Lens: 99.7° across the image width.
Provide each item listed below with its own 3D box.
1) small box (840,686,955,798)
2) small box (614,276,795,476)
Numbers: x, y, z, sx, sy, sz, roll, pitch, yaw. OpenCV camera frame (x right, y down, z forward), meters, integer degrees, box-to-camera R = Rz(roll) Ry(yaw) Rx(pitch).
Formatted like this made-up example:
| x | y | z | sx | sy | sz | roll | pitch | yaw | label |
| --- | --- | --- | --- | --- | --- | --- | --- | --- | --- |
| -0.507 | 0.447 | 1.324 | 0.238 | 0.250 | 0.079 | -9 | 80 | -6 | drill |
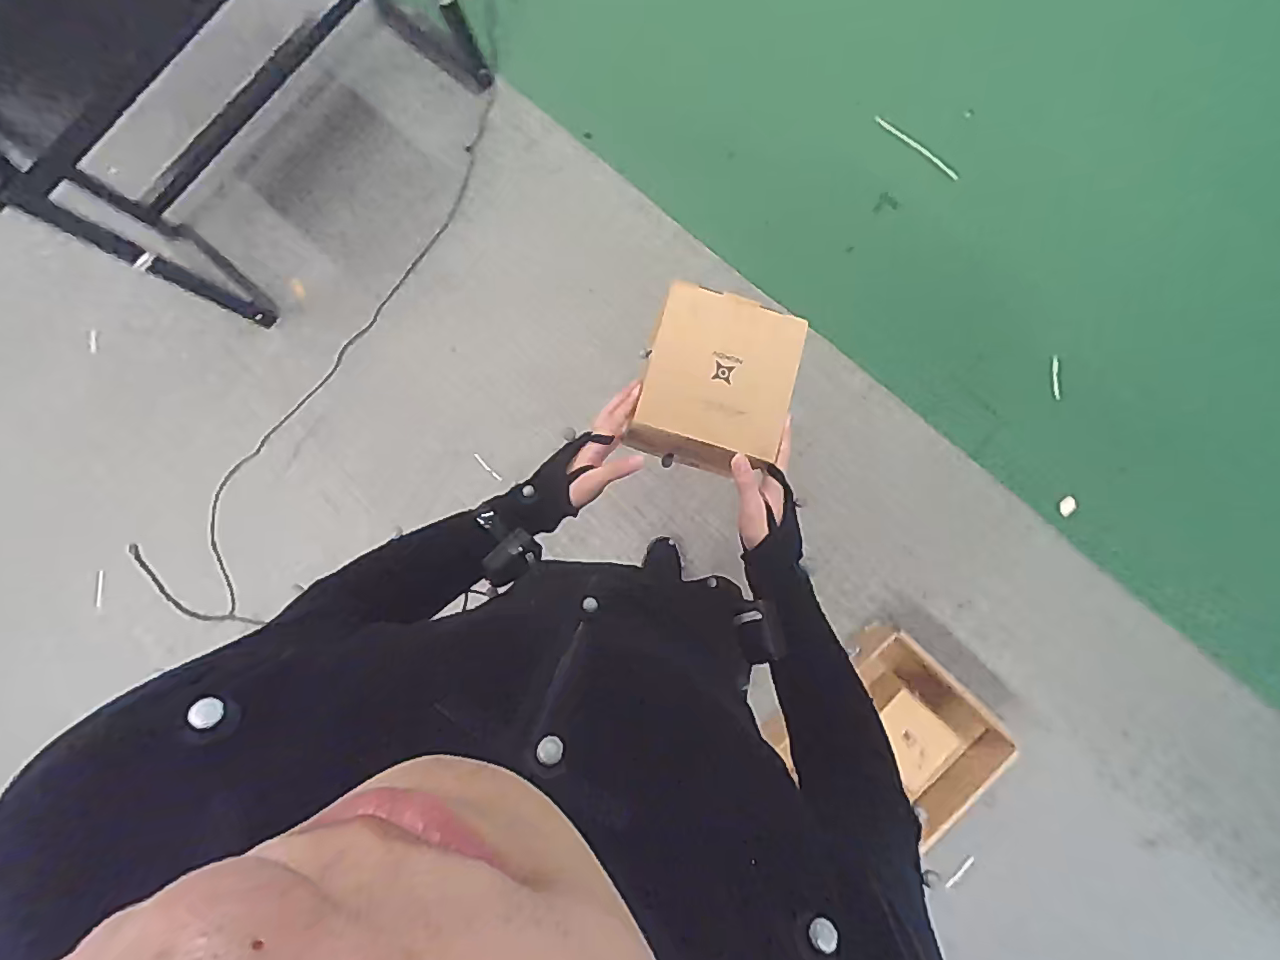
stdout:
| x | y | z | sx | sy | sz | roll | pitch | yaw | label |
| --- | --- | --- | --- | --- | --- | --- | --- | --- | --- |
| 0.641 | 0.650 | 1.375 | 0.179 | 0.176 | 0.168 | 44 | 90 | 9 | small box |
| 0.069 | -0.115 | 0.674 | 0.168 | 0.176 | 0.179 | 15 | 82 | -5 | small box |
